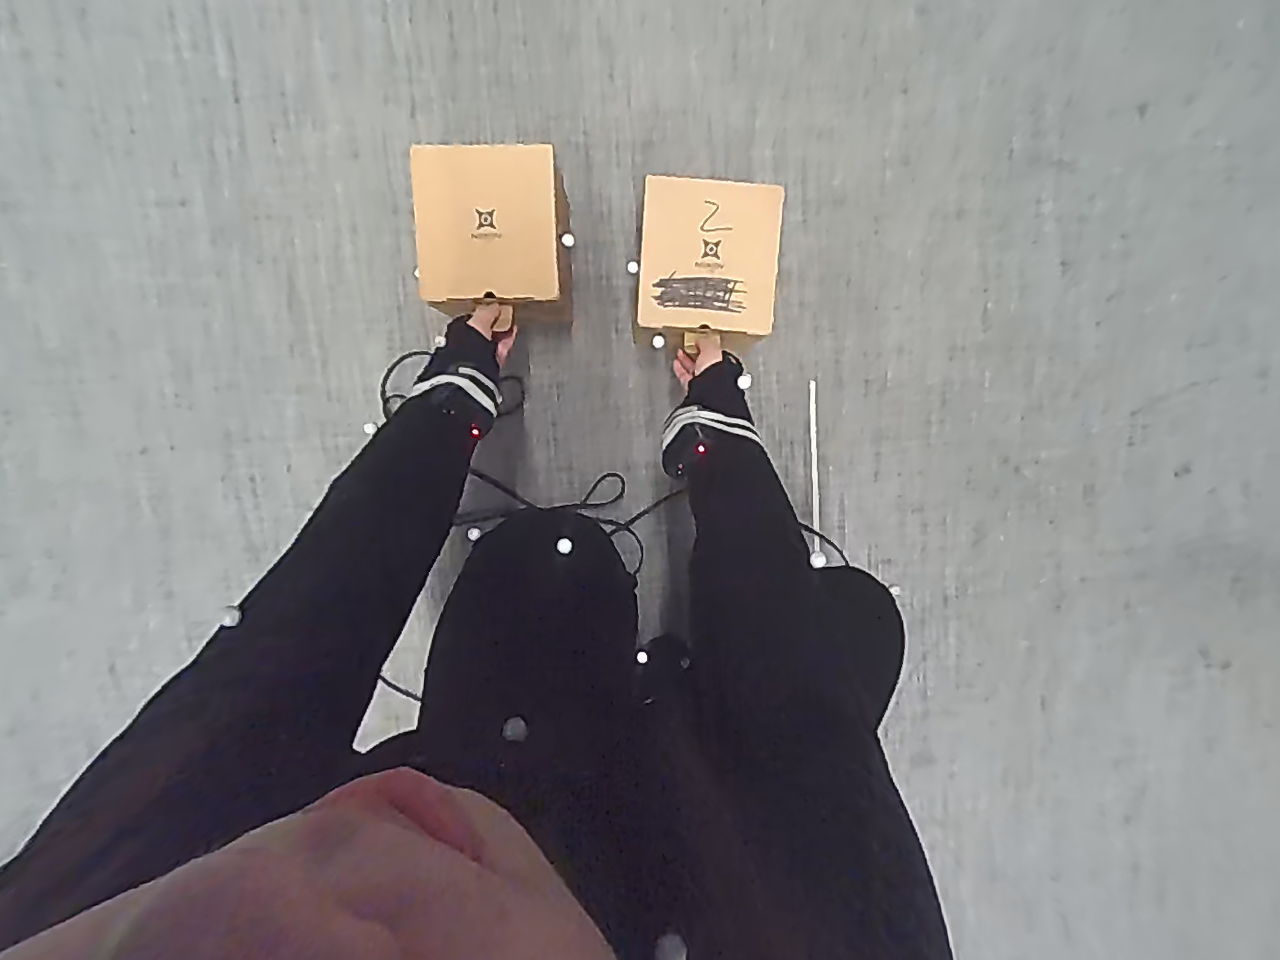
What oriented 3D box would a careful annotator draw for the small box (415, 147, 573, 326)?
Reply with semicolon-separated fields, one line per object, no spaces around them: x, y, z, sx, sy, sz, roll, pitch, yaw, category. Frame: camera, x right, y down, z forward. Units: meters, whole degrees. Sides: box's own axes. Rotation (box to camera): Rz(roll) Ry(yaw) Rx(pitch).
-0.181;-0.309;0.717;0.168;0.176;0.179;-1;97;0;small box
